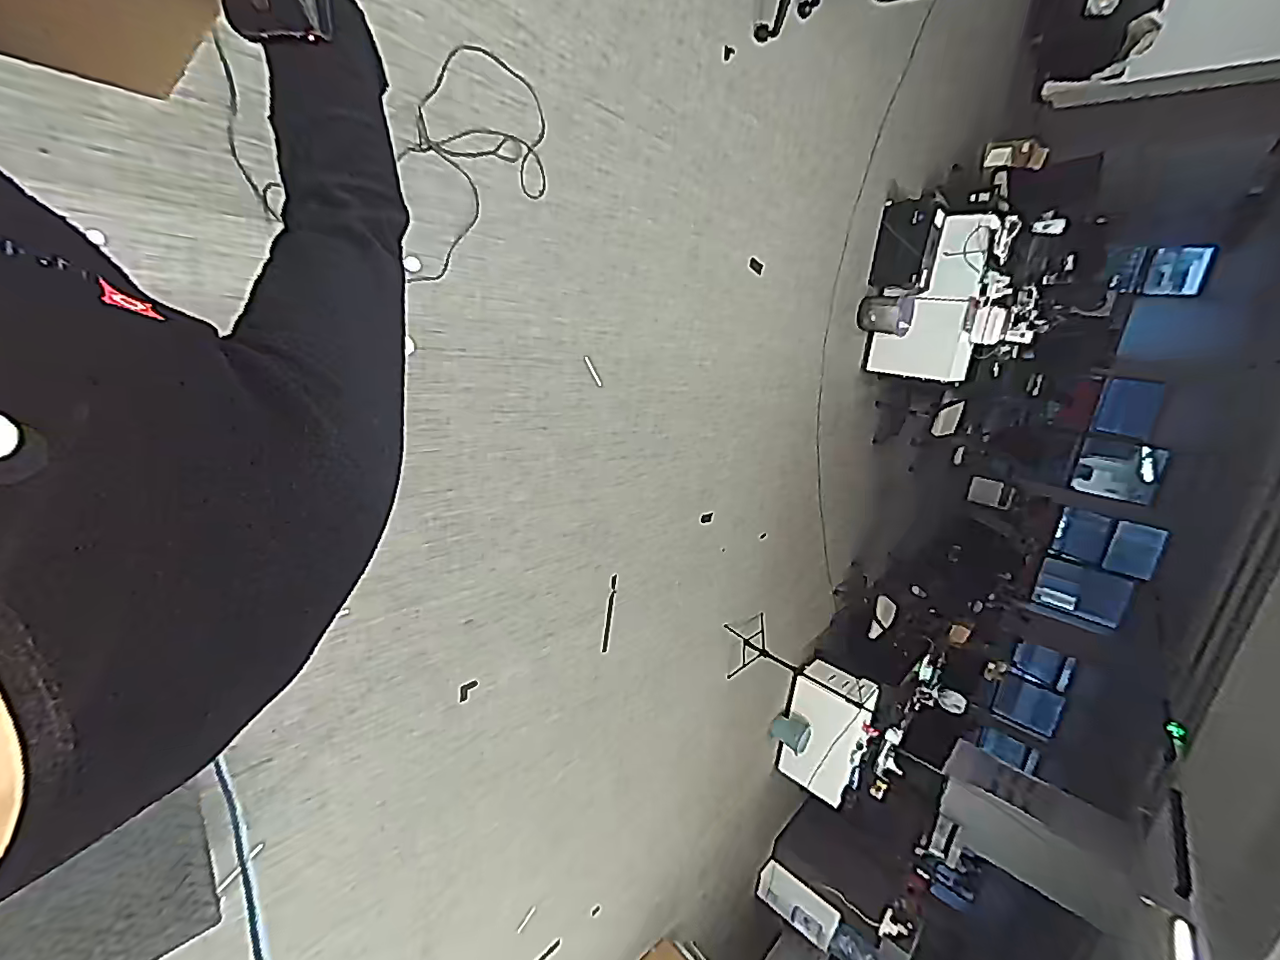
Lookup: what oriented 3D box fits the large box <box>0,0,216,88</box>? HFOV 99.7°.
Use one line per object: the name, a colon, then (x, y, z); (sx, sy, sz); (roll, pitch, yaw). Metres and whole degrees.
large box: (-0.499, -0.481, 0.272); (0.408, 0.320, 0.320); (-13, 110, -47)
